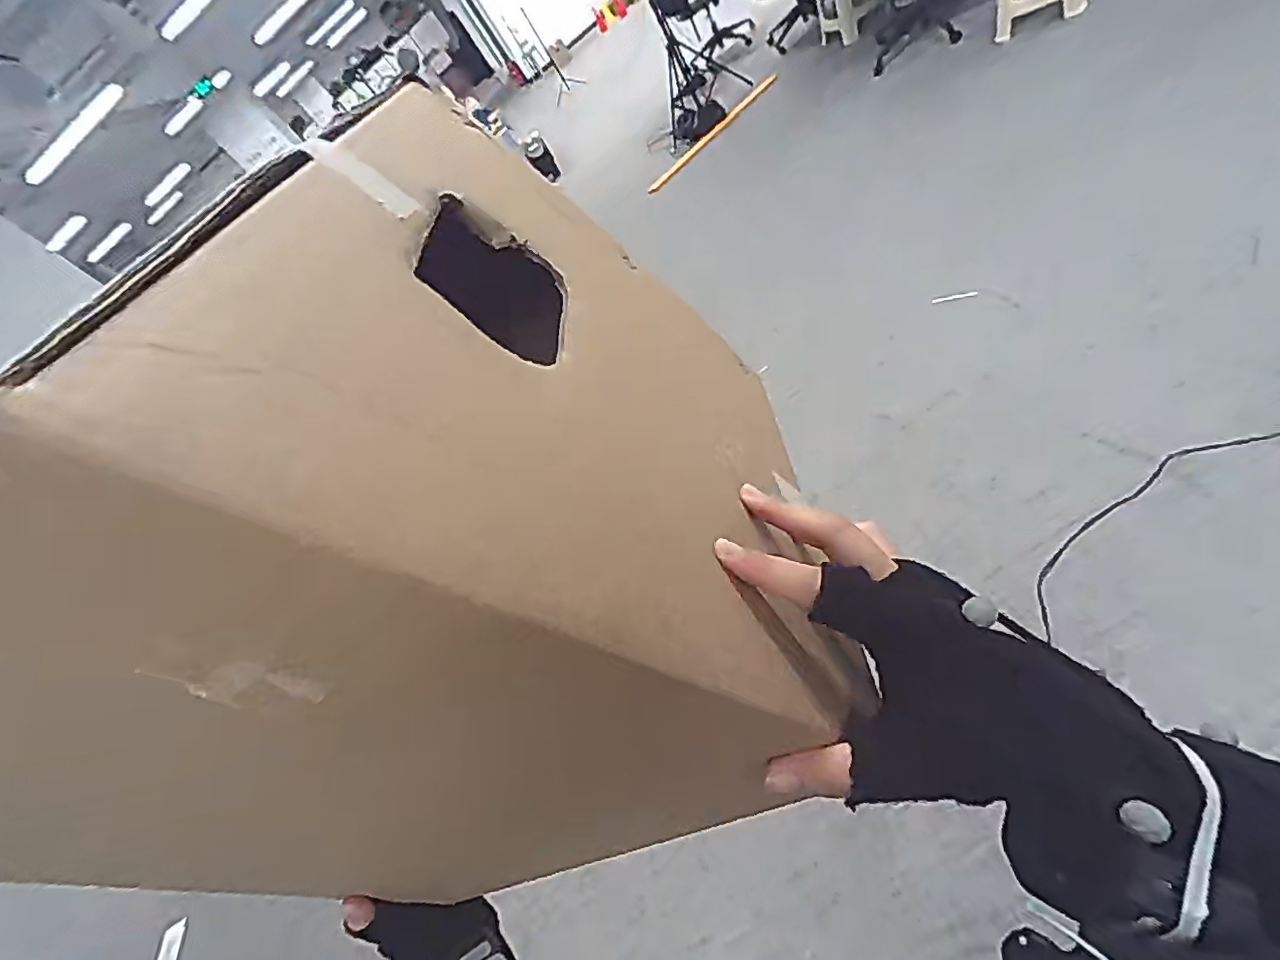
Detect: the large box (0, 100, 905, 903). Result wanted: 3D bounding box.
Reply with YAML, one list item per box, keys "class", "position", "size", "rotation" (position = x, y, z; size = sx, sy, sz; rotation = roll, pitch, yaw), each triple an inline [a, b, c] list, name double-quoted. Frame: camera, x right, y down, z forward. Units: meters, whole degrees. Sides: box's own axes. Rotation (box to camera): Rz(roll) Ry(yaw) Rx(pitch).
- class: "large box"
  position: [-0.122, 0.059, 0.377]
  size: [0.408, 0.320, 0.320]
  rotation: [-38, 36, 28]
